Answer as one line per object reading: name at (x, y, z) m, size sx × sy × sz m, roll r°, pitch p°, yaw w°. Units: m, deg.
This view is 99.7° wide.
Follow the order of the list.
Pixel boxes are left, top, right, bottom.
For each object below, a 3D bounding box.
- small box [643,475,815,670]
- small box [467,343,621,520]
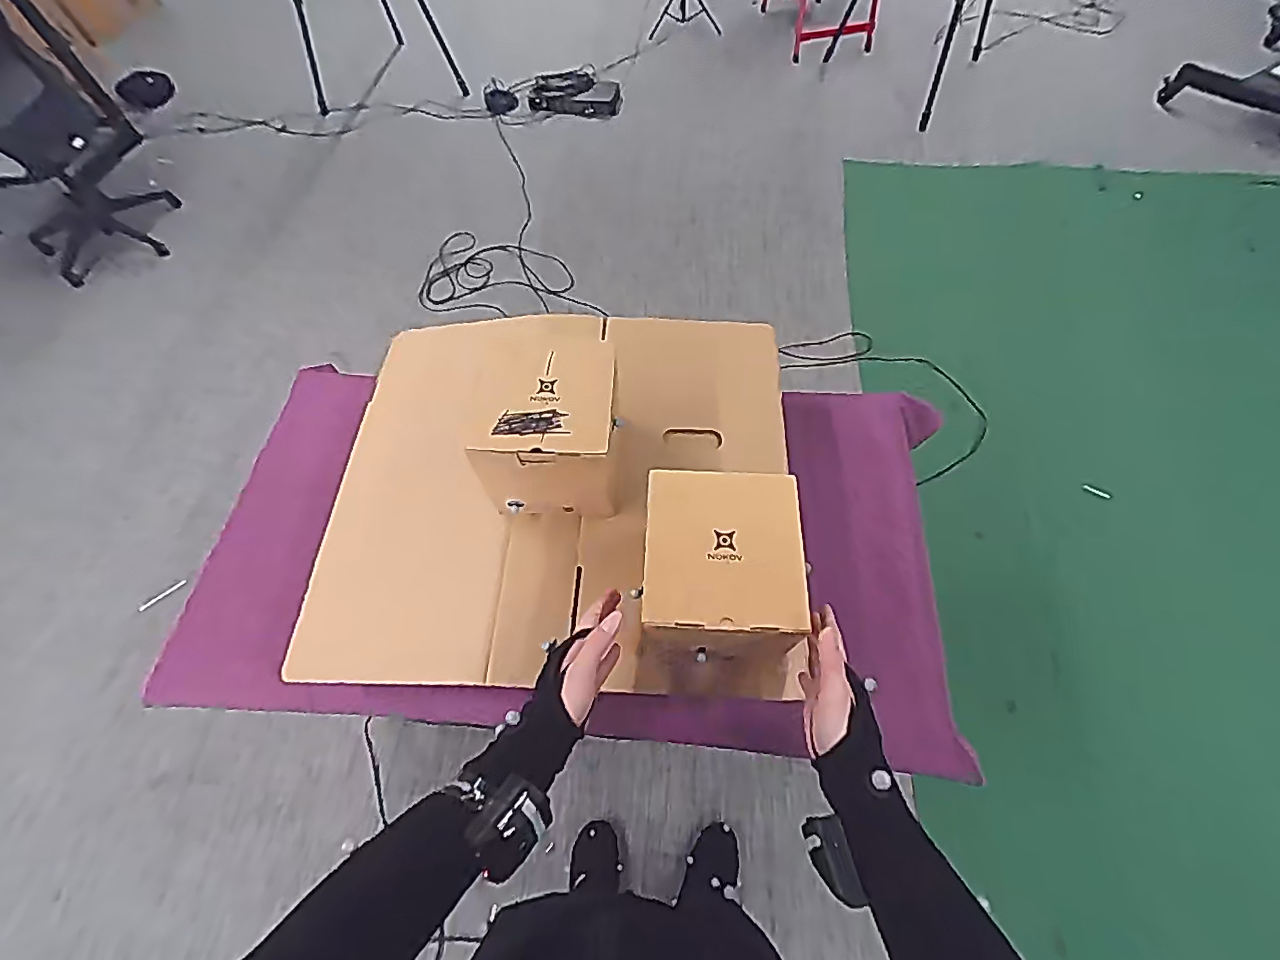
small box at (0.090, 0.113, 0.631) m, size 0.168 × 0.176 × 0.179 m, roll 2°, pitch 62°, yaw 1°
small box at (-0.113, -0.058, 0.721) m, size 0.168 × 0.176 × 0.179 m, roll 2°, pitch 60°, yaw 0°
